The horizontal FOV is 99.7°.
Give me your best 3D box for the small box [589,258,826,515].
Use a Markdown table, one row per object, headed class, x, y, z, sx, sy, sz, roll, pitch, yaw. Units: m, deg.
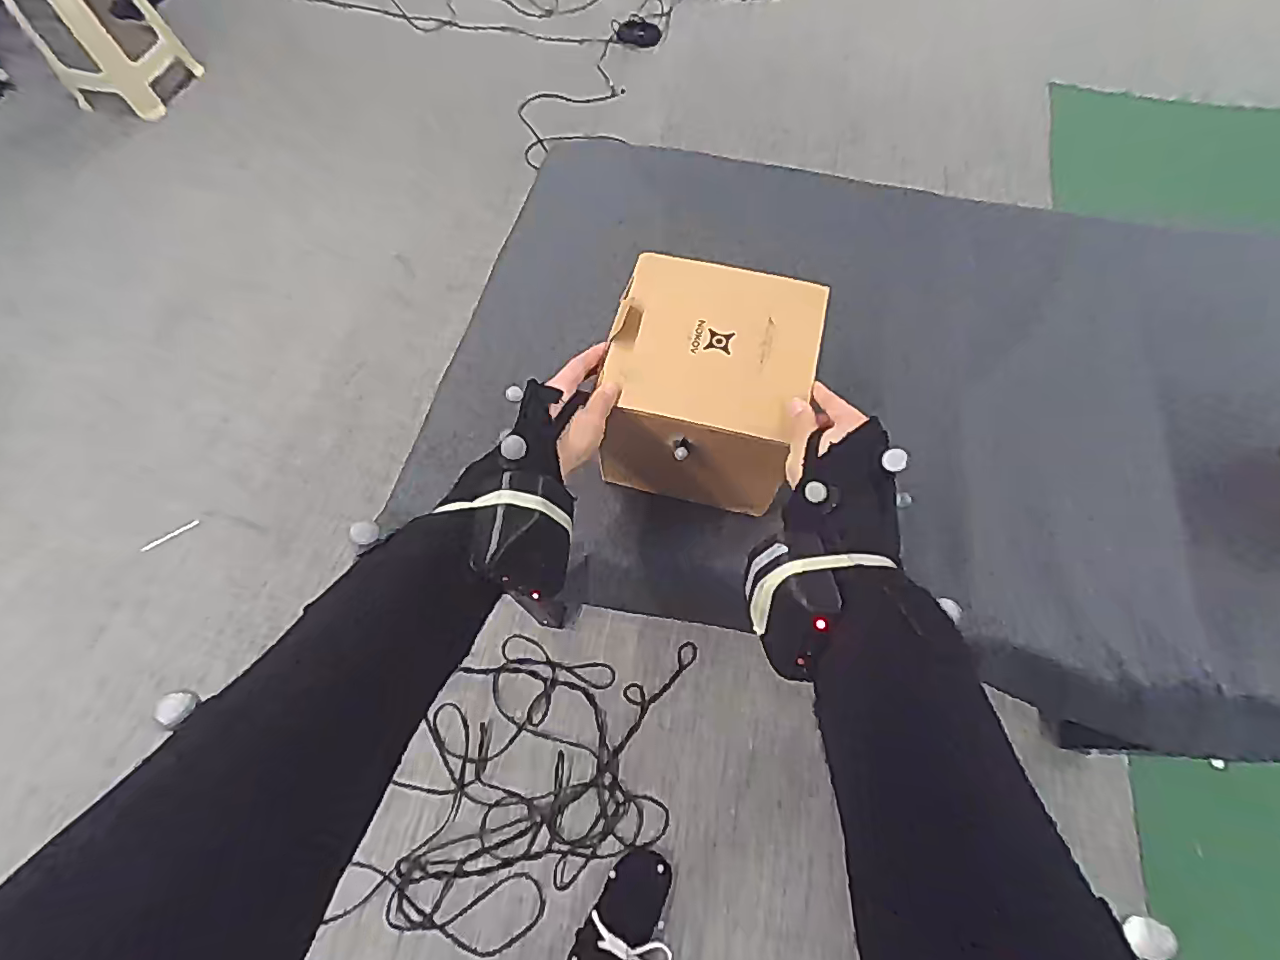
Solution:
| class | x | y | z | sx | sy | sz | roll | pitch | yaw |
| --- | --- | --- | --- | --- | --- | --- | --- | --- | --- |
| small box | 0.061 | -0.080 | 0.528 | 0.179 | 0.176 | 0.168 | 14 | 67 | 5 |
